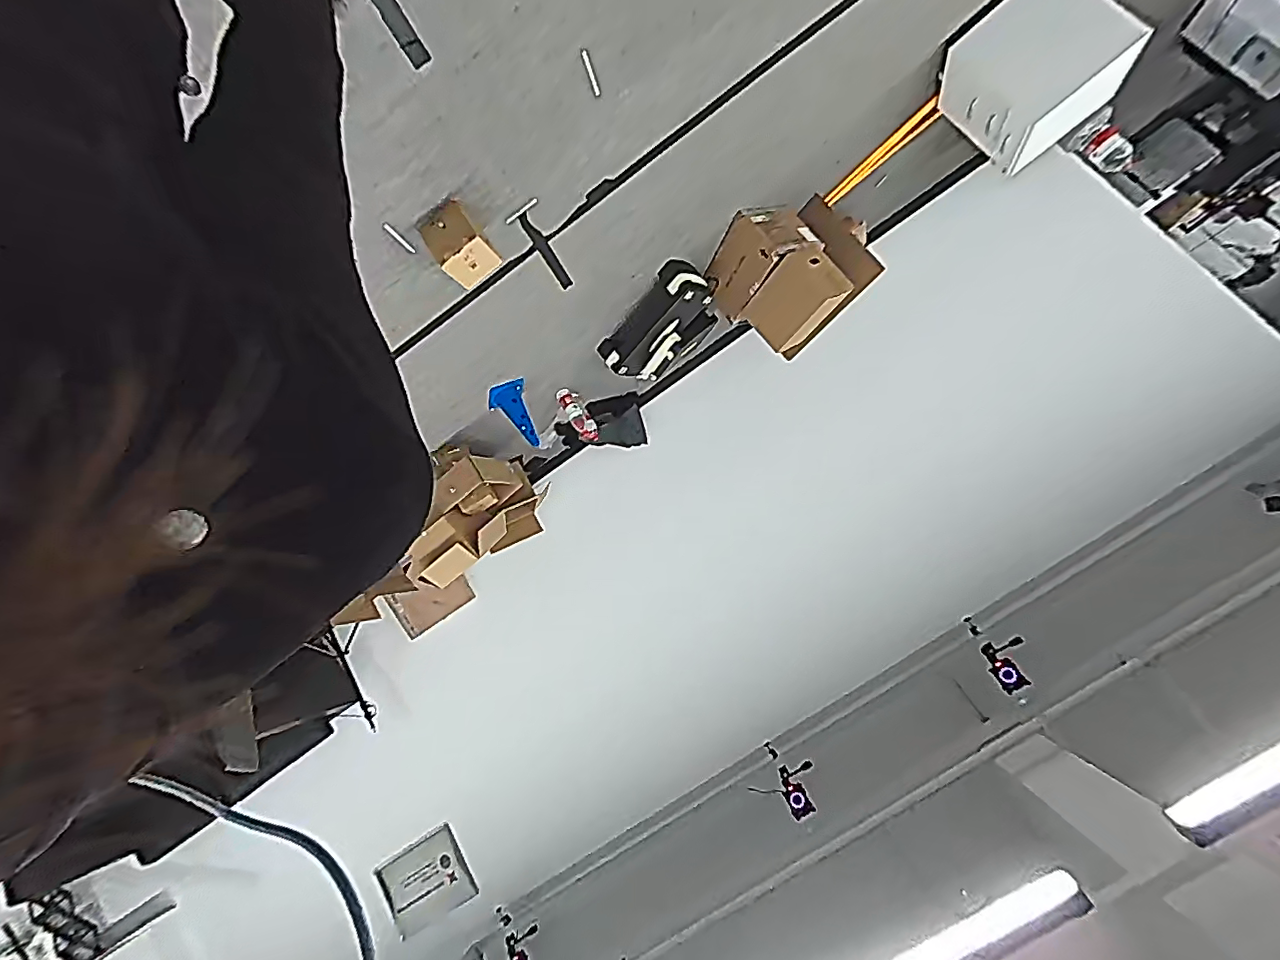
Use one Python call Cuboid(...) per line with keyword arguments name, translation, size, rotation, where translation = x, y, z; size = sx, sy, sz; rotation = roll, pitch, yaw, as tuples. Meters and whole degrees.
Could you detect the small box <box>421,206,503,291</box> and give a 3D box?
Cuboid(name="small box", translation=(-0.608, -0.793, 1.854), size=(0.168, 0.176, 0.179), rotation=(-36, 164, 9))
